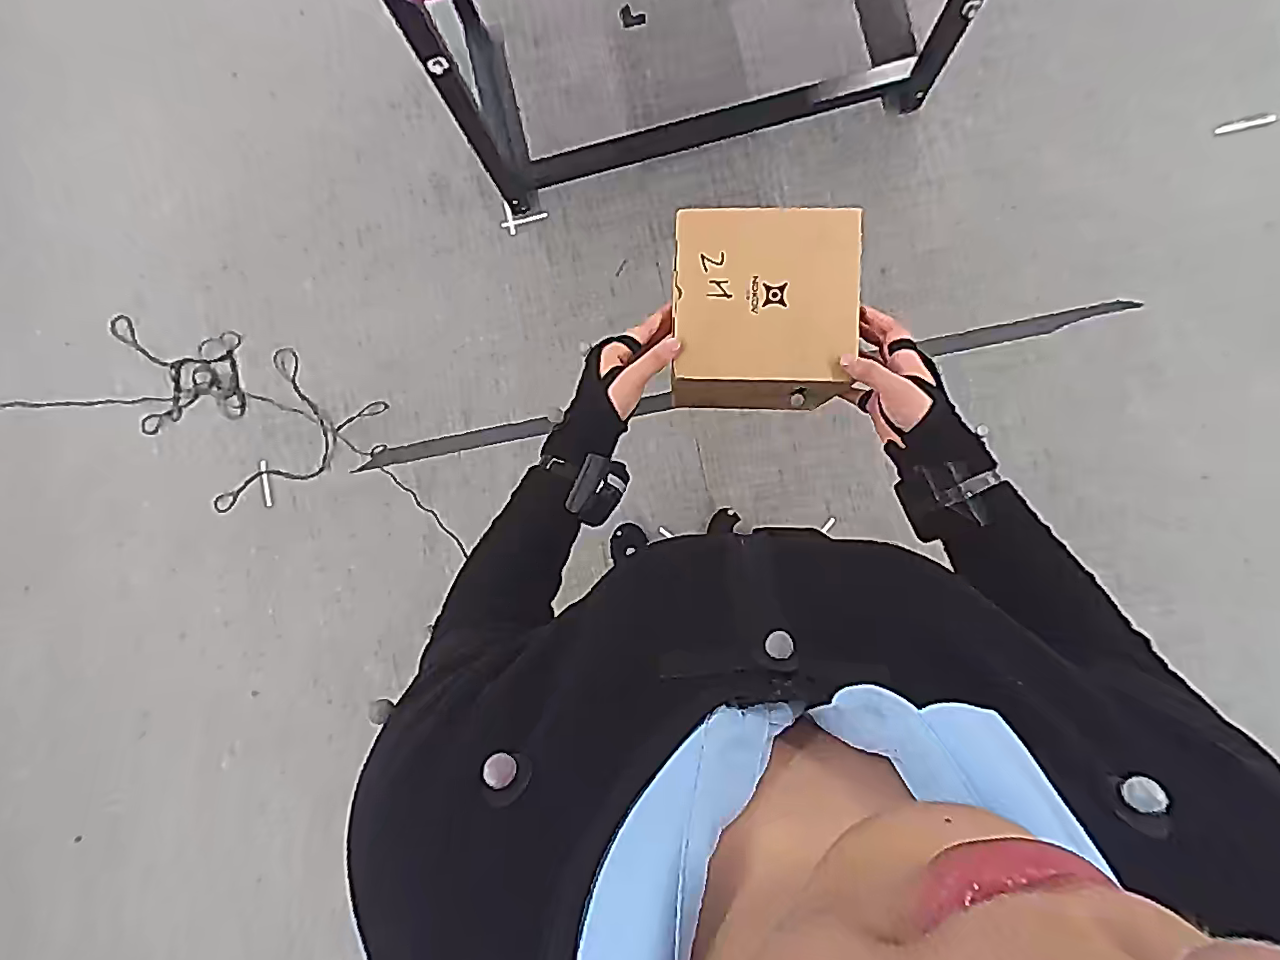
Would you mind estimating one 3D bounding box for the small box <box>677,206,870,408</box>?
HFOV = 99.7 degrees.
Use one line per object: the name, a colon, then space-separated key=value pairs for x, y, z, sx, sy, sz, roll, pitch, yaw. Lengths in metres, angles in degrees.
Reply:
small box: x=0.132 y=-0.174 z=0.591 sx=0.179 sy=0.176 sz=0.168 roll=2 pitch=88 yaw=5
